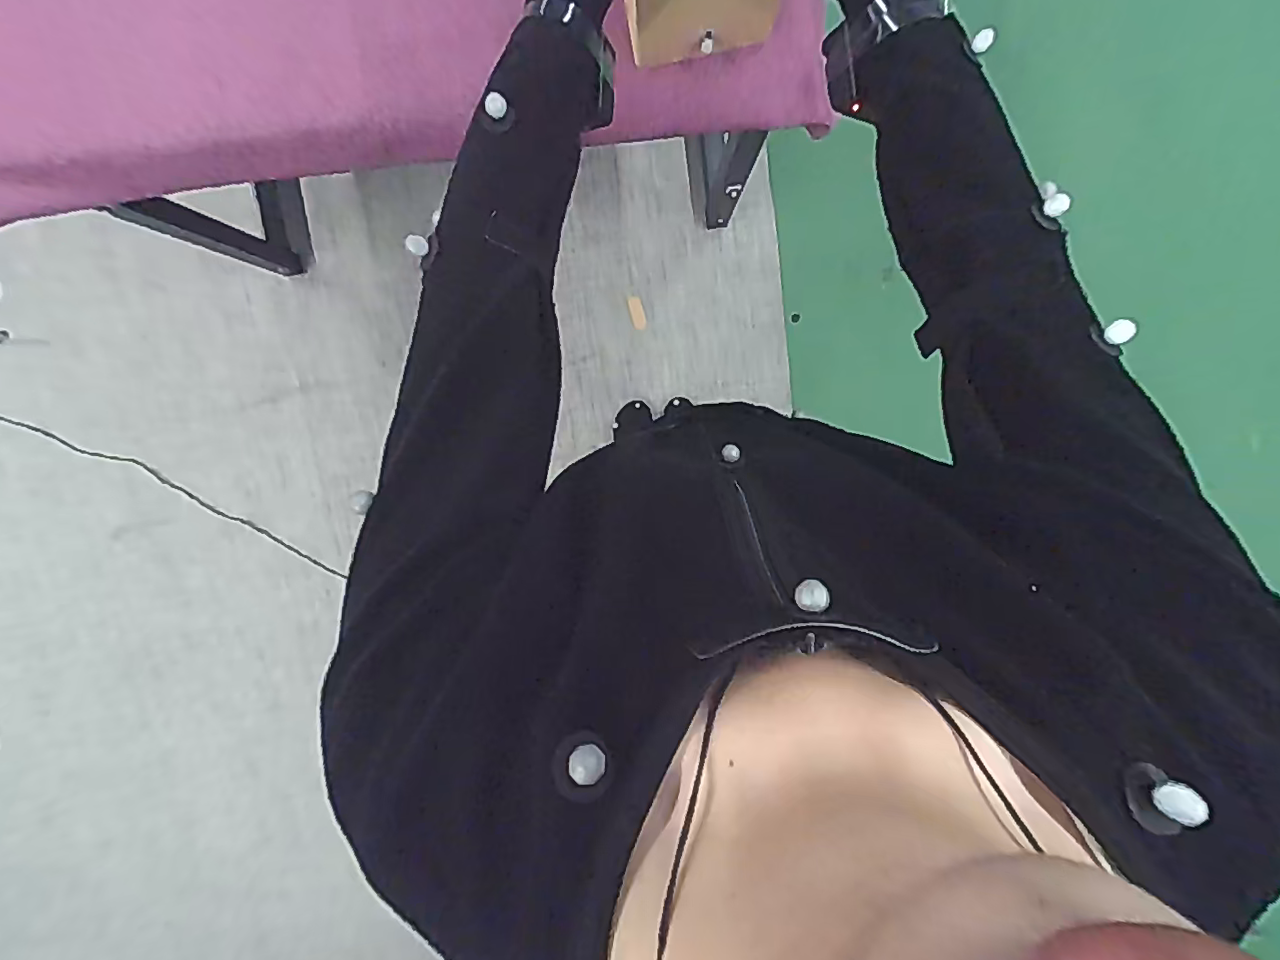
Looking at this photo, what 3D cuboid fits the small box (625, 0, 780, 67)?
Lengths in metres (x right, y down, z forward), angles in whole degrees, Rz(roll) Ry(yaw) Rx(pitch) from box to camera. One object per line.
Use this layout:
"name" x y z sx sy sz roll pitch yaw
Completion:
"small box" 0.066 -0.610 0.604 0.179 0.176 0.168 -10 99 3
